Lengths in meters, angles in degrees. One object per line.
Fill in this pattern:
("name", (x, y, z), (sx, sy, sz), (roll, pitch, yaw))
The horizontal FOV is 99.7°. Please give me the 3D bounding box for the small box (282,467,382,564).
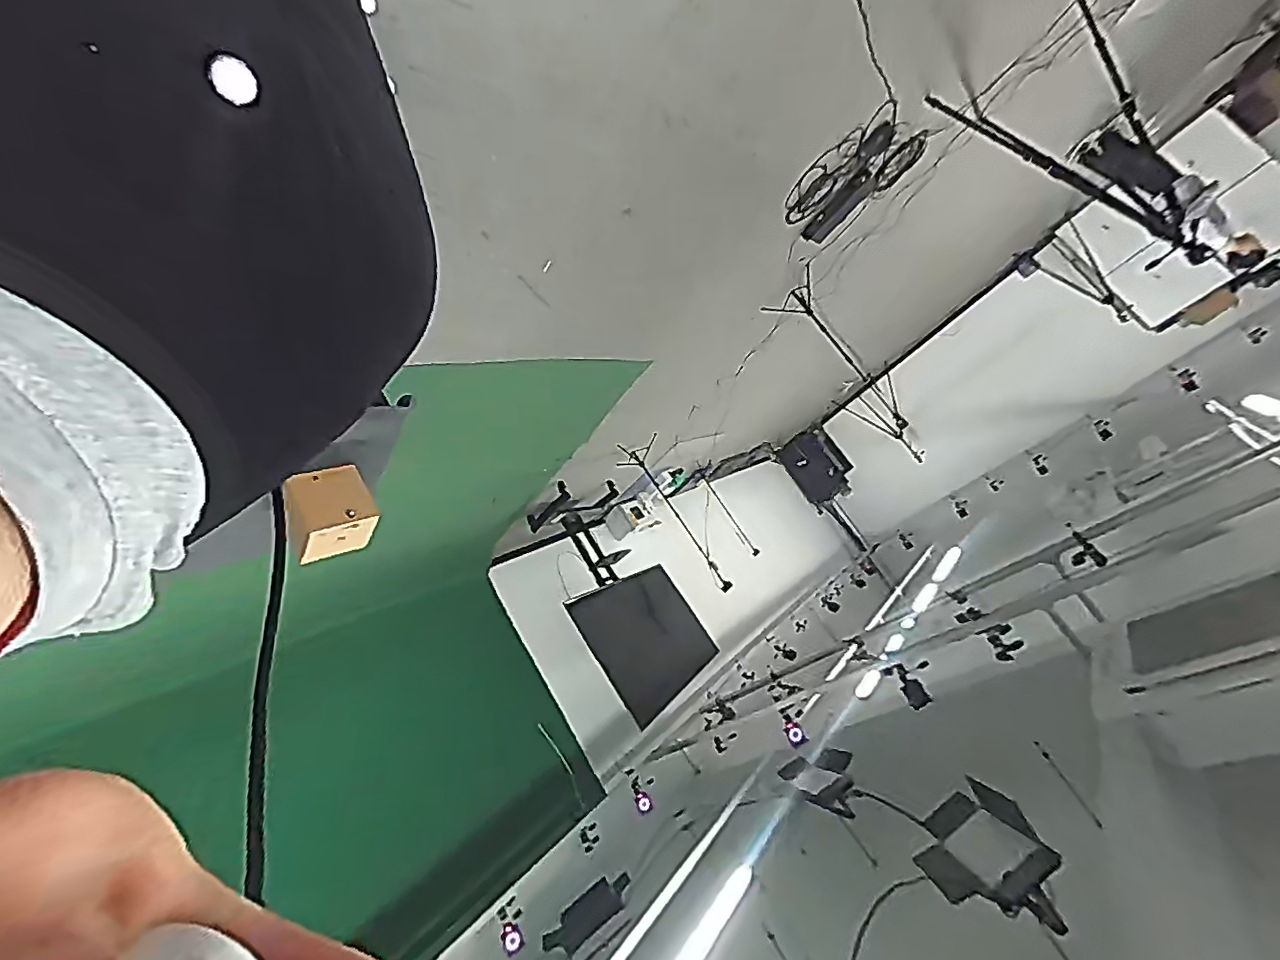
("small box", (-0.811, 0.088, 1.416), (0.168, 0.176, 0.179), (-20, 162, -47))
